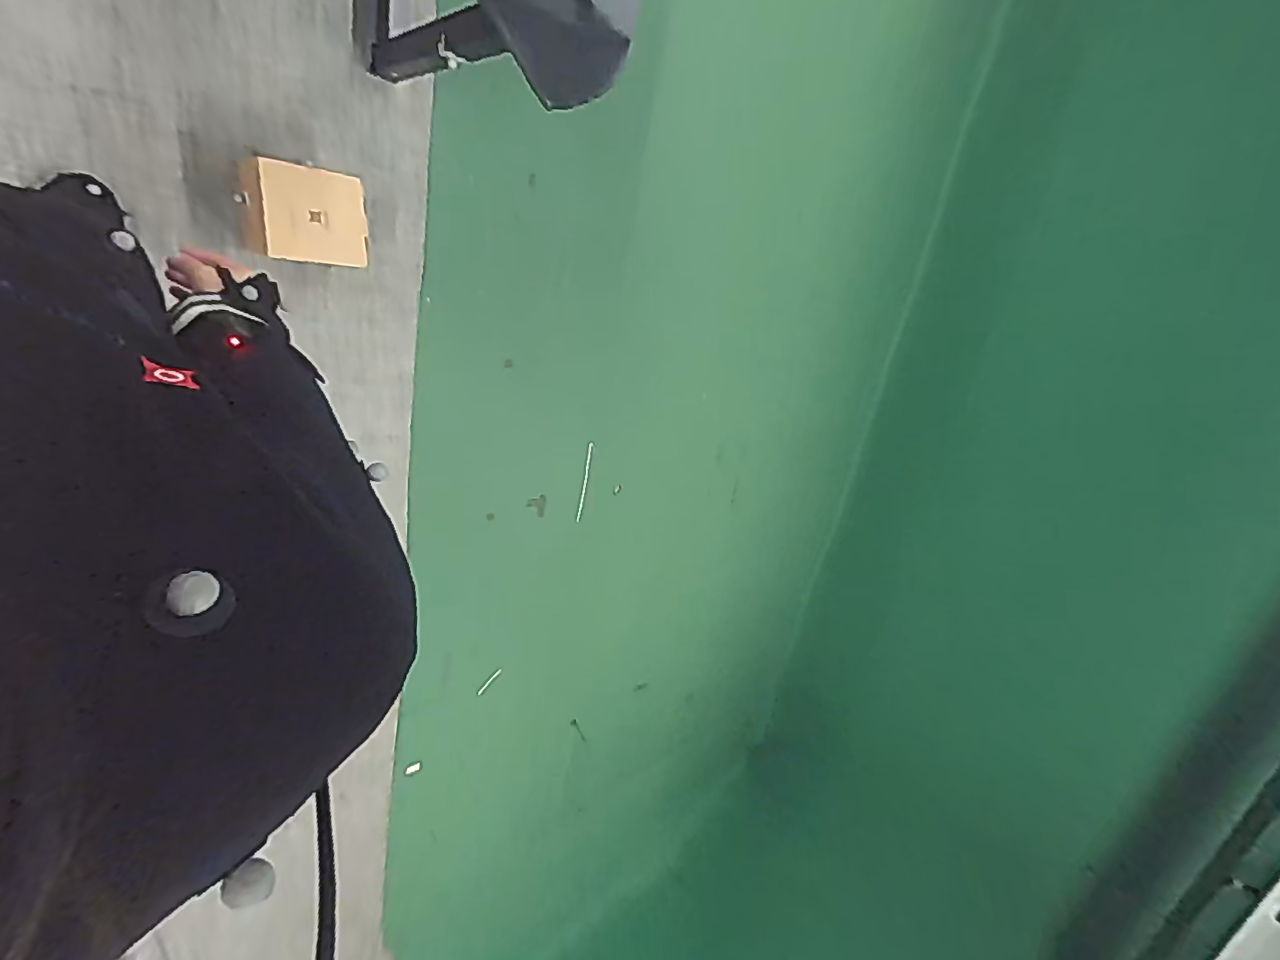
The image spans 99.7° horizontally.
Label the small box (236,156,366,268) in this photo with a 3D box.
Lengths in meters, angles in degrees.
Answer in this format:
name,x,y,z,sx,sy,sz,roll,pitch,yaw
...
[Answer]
name,x,y,z,sx,sy,sz,roll,pitch,yaw
small box,-0.662,-0.521,1.061,0.179,0.176,0.168,-12,118,-44
